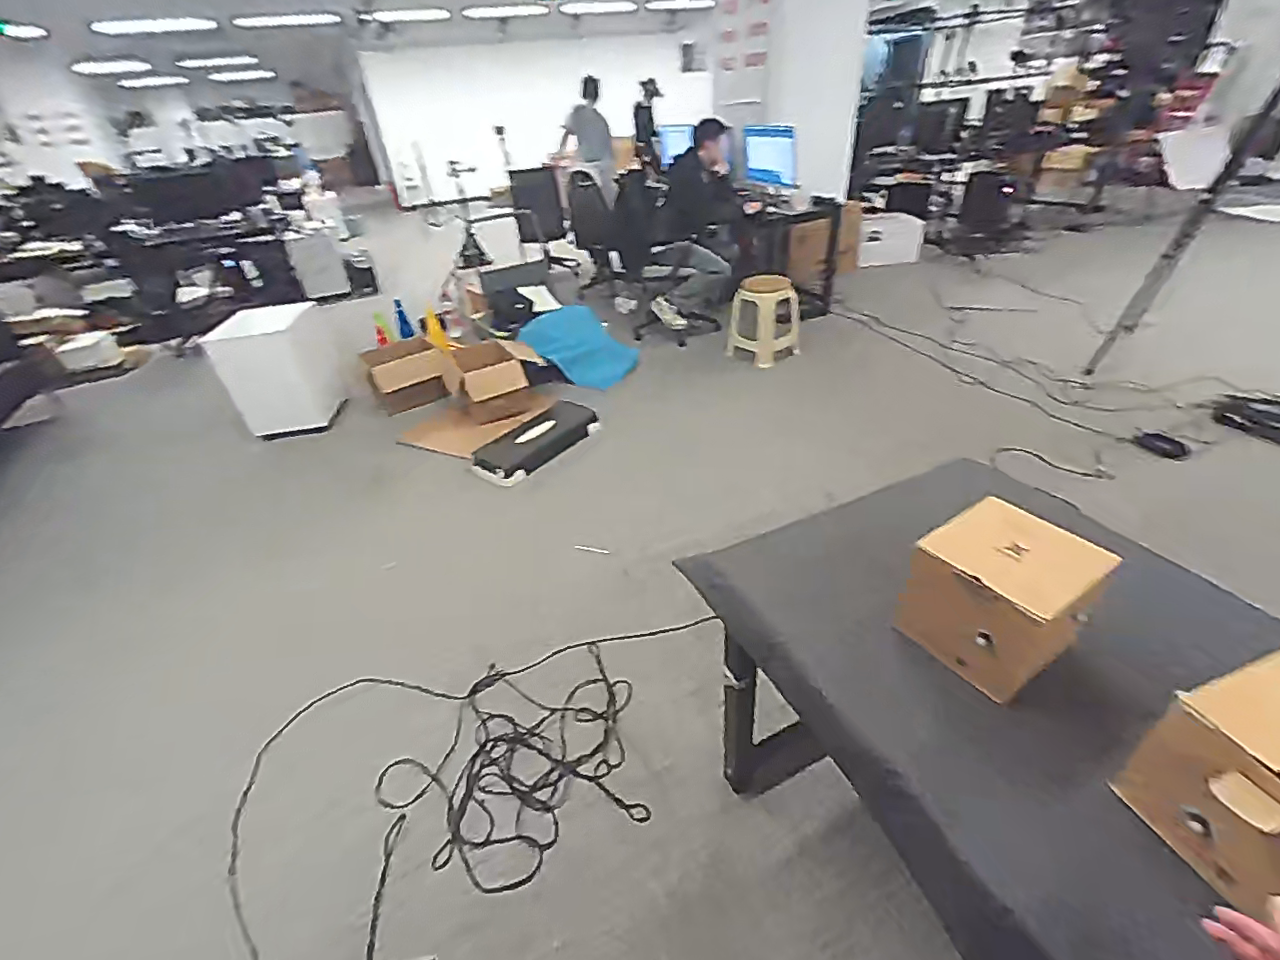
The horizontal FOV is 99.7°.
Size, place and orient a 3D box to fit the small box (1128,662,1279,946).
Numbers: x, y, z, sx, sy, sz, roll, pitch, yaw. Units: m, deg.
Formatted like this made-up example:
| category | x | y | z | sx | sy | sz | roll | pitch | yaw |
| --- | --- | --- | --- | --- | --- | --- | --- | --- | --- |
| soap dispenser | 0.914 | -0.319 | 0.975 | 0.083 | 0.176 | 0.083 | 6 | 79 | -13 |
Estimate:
| category | x | y | z | sx | sy | sz | roll | pitch | yaw |
| --- | --- | --- | --- | --- | --- | --- | --- | --- | --- |
| small box | 0.625 | 0.295 | 0.507 | 0.179 | 0.176 | 0.168 | -14 | 36 | -12 |

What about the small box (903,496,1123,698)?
| category | x | y | z | sx | sy | sz | roll | pitch | yaw |
| --- | --- | --- | --- | --- | --- | --- | --- | --- | --- |
| small box | 0.484 | 0.154 | 0.730 | 0.179 | 0.176 | 0.168 | -22 | 39 | -25 |
